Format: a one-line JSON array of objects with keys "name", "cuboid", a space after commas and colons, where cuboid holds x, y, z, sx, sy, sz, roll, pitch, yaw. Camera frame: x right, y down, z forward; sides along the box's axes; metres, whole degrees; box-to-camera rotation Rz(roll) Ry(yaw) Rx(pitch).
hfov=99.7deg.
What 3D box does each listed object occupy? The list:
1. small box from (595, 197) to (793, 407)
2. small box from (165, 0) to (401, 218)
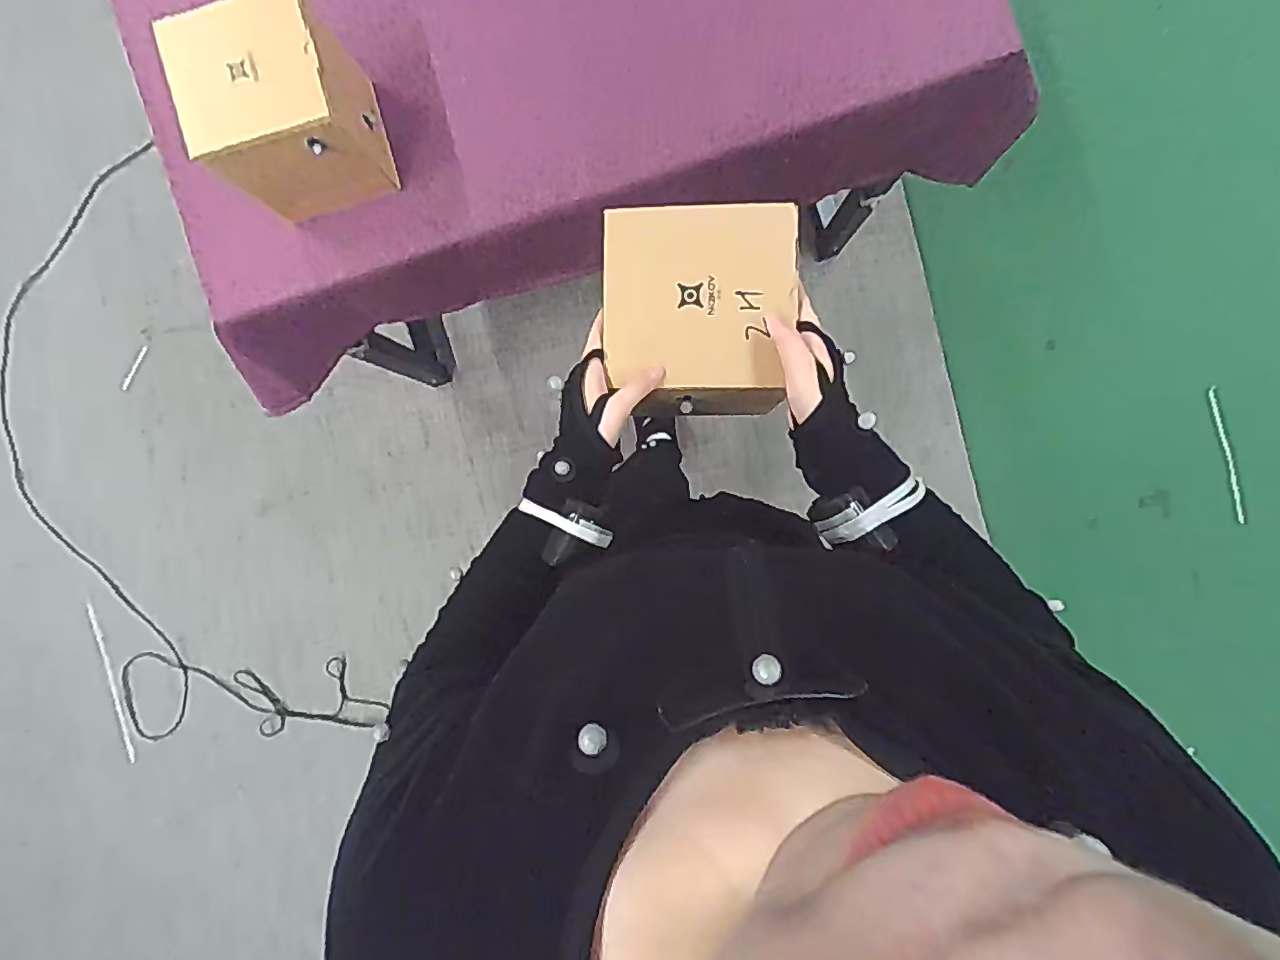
[{"name": "small box", "cuboid": [0.055, -0.169, 0.564, 0.179, 0.176, 0.168, 1, 89, 5]}, {"name": "small box", "cuboid": [-0.451, -0.475, 0.708, 0.179, 0.176, 0.168, -15, 90, 2]}]
